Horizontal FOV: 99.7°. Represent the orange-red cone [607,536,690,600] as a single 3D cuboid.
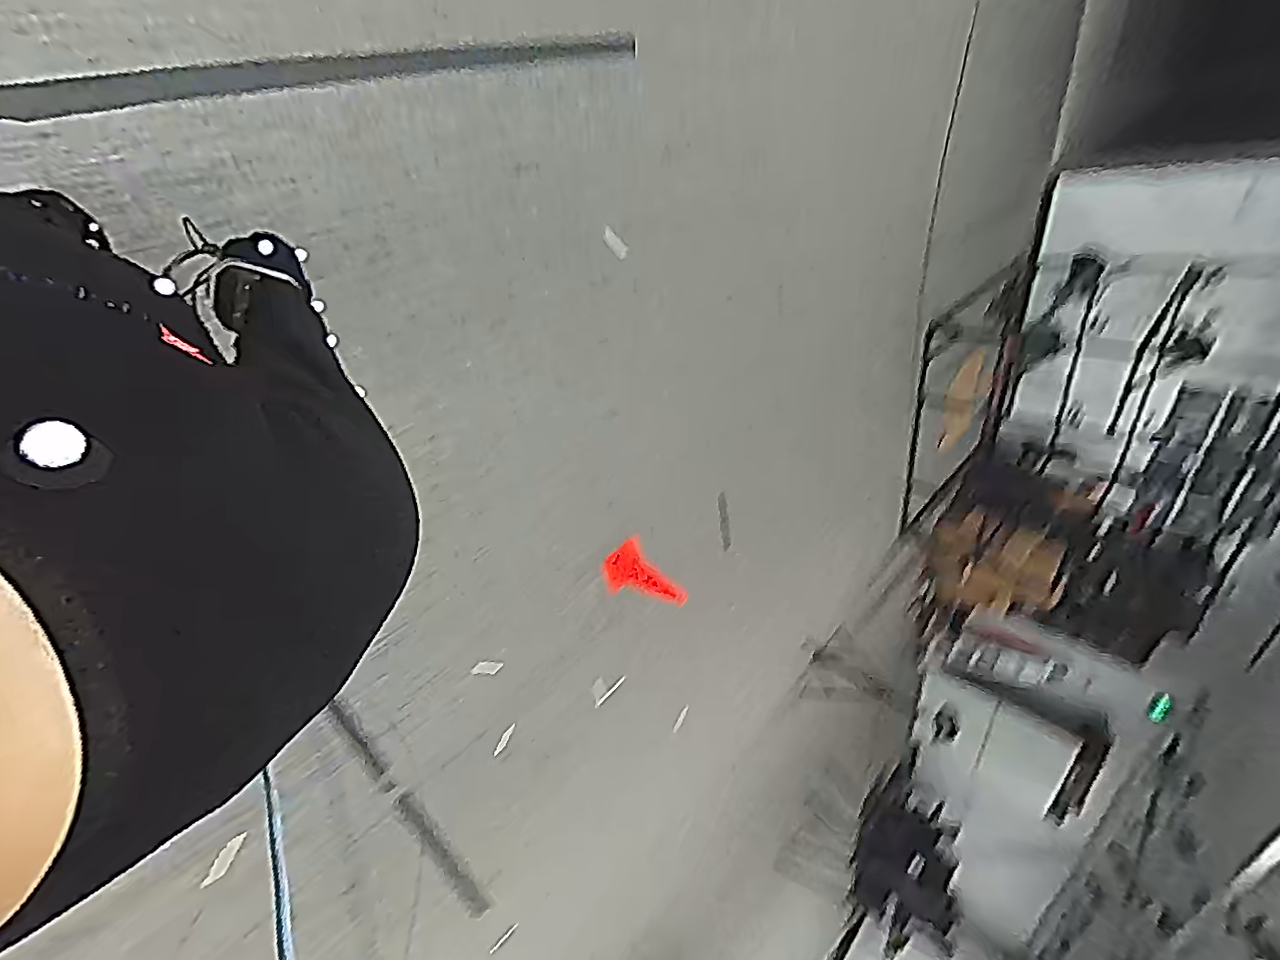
[{"bbox_3d":[0.062,0.408,2.244,0.198,0.360,0.199,-39,130,-29],"label":"orange-red cone"}]
